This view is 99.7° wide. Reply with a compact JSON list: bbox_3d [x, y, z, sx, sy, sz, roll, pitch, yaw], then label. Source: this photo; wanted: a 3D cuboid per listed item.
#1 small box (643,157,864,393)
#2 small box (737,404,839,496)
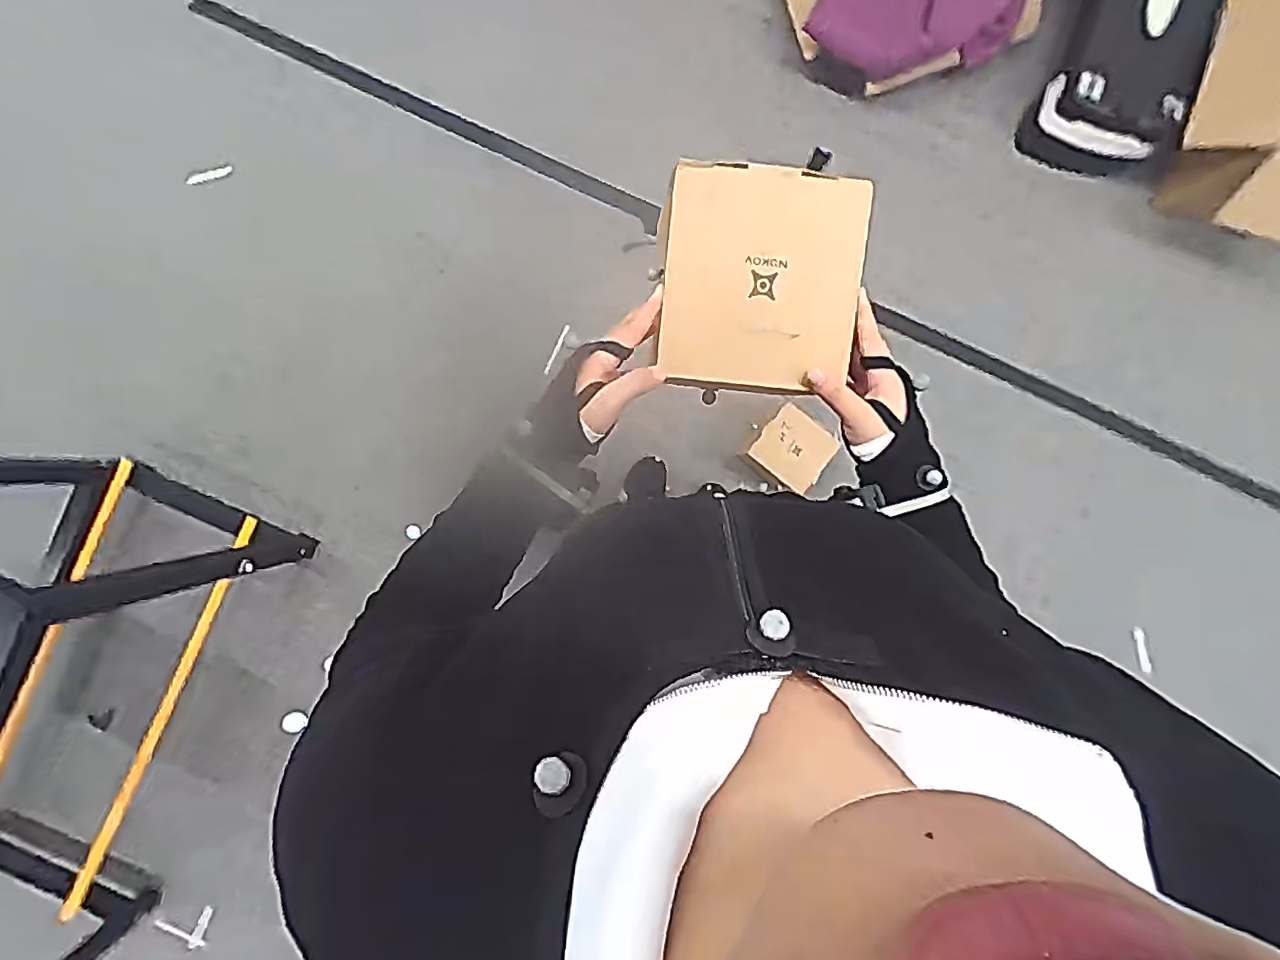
[{"bbox_3d":[0.094,-0.181,0.533,0.168,0.176,0.179,4,99,-3],"label":"small box"},{"bbox_3d":[0.380,-0.078,1.420,0.179,0.176,0.168,39,91,0],"label":"small box"}]
